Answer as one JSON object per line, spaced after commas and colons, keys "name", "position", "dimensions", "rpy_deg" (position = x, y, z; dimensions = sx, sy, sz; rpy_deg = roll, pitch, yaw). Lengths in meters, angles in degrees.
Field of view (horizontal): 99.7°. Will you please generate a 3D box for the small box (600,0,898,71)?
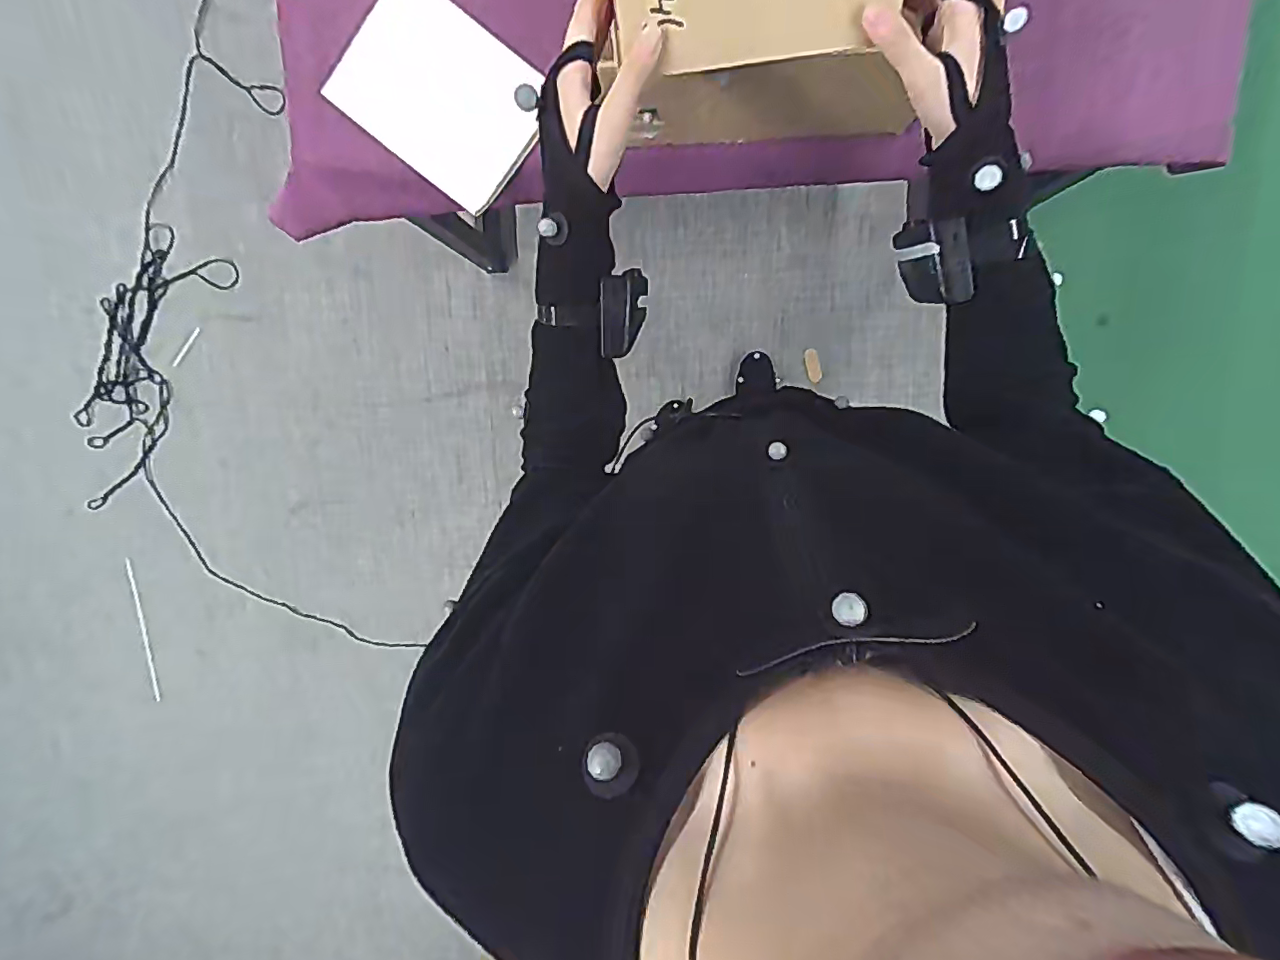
{"name": "small box", "position": [0.058, -0.377, 0.348], "dimensions": [0.179, 0.176, 0.168], "rpy_deg": [-7, 127, 0]}
